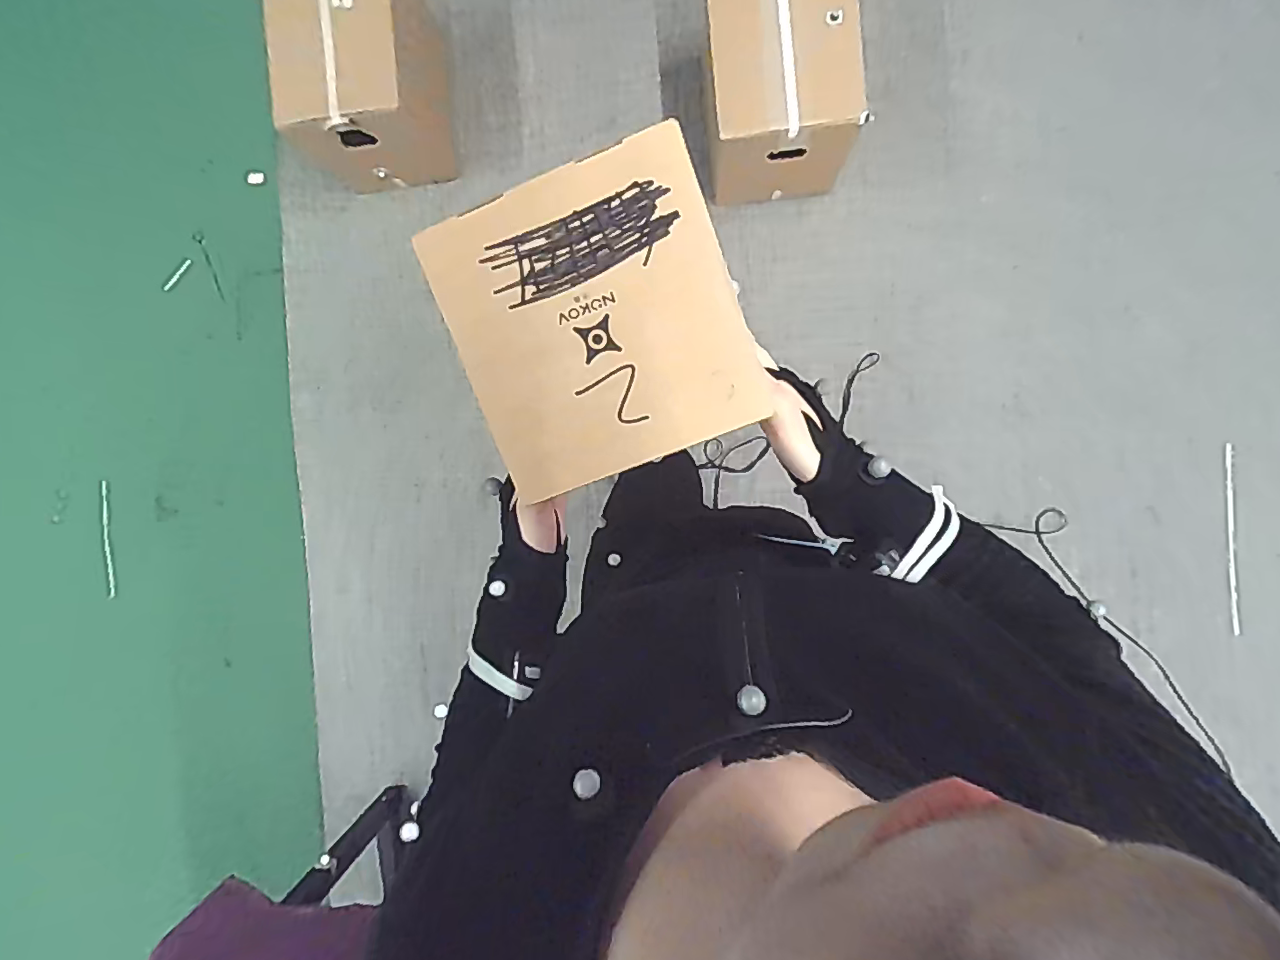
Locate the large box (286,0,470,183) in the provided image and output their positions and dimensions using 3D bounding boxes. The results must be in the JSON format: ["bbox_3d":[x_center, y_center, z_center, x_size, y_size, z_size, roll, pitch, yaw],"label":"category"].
[{"bbox_3d":[-0.661,-1.066,1.405,0.320,0.320,0.408,-3,90,7],"label":"large box"}]
